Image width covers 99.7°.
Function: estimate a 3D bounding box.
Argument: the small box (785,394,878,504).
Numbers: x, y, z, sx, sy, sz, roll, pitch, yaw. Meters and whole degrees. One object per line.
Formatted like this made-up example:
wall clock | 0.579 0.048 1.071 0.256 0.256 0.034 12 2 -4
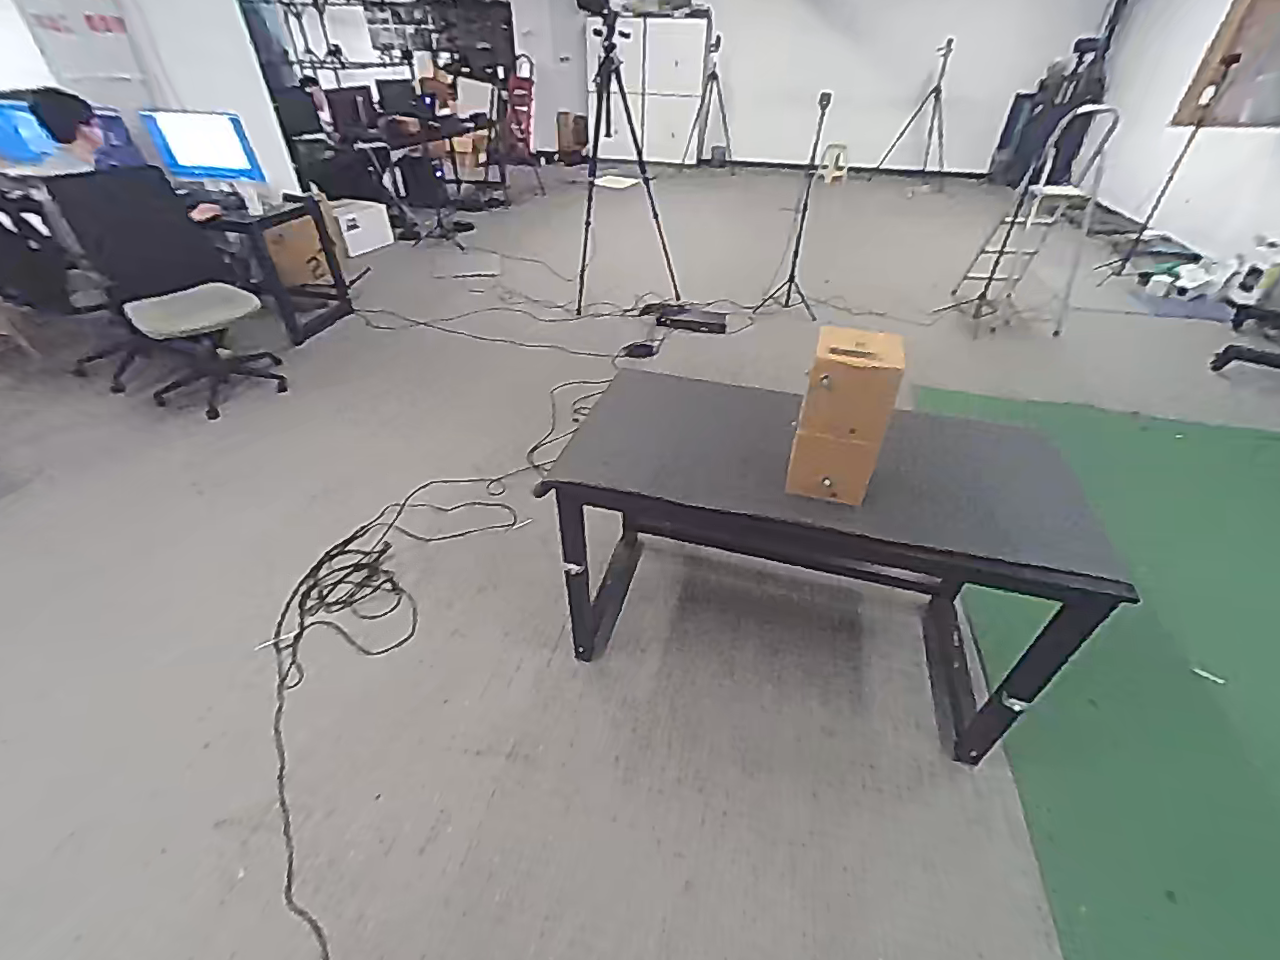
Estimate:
small box | 0.432 -0.073 1.232 0.168 0.176 0.179 11 39 13
